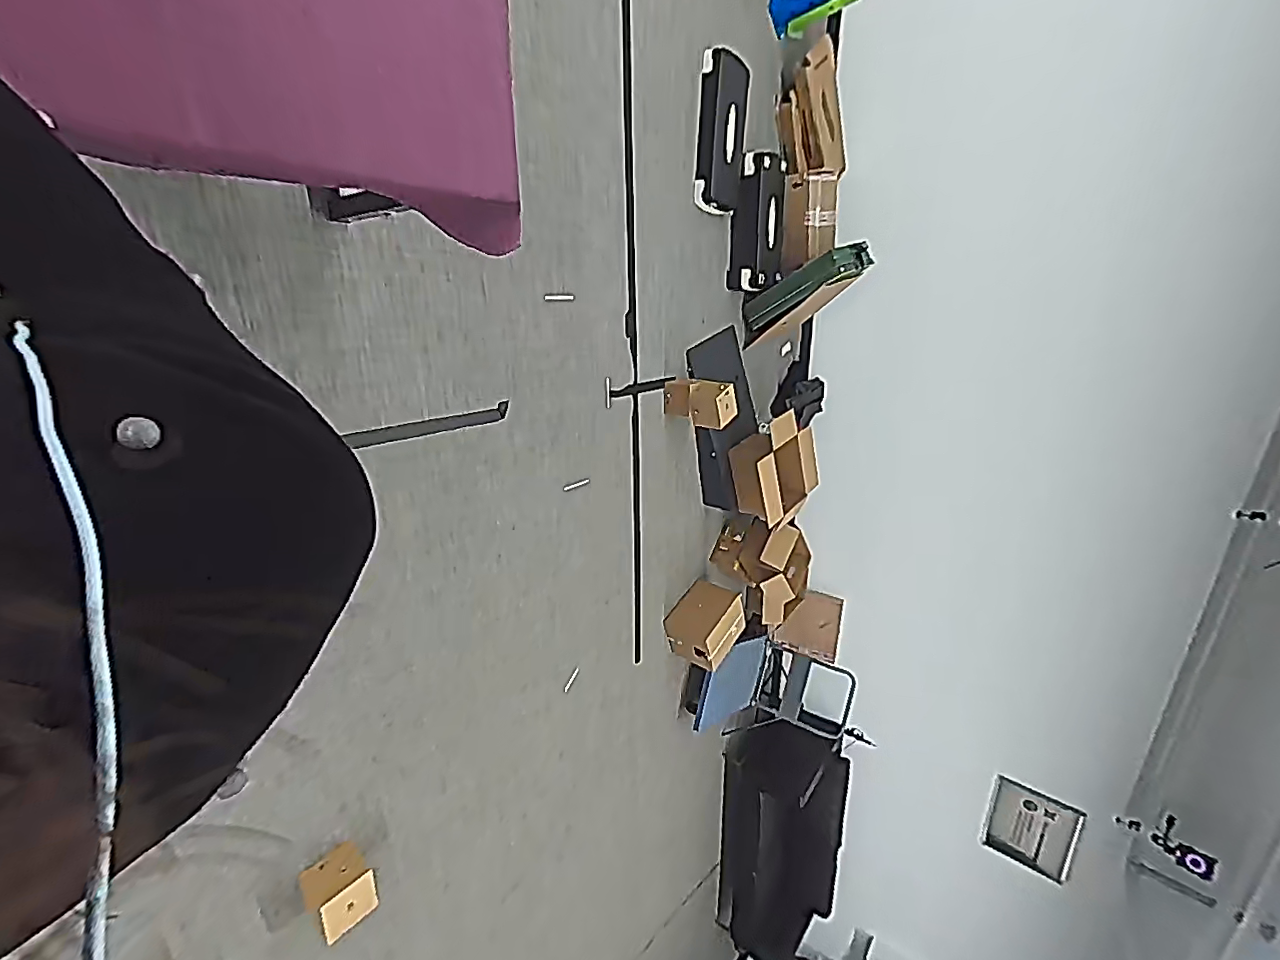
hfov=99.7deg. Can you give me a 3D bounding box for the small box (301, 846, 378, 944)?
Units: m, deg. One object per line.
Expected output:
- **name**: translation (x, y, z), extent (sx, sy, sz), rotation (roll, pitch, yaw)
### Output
- **small box**: translation (-1.014, 1.381, 1.819), extent (0.168, 0.176, 0.179), rotation (-21, 119, -48)
